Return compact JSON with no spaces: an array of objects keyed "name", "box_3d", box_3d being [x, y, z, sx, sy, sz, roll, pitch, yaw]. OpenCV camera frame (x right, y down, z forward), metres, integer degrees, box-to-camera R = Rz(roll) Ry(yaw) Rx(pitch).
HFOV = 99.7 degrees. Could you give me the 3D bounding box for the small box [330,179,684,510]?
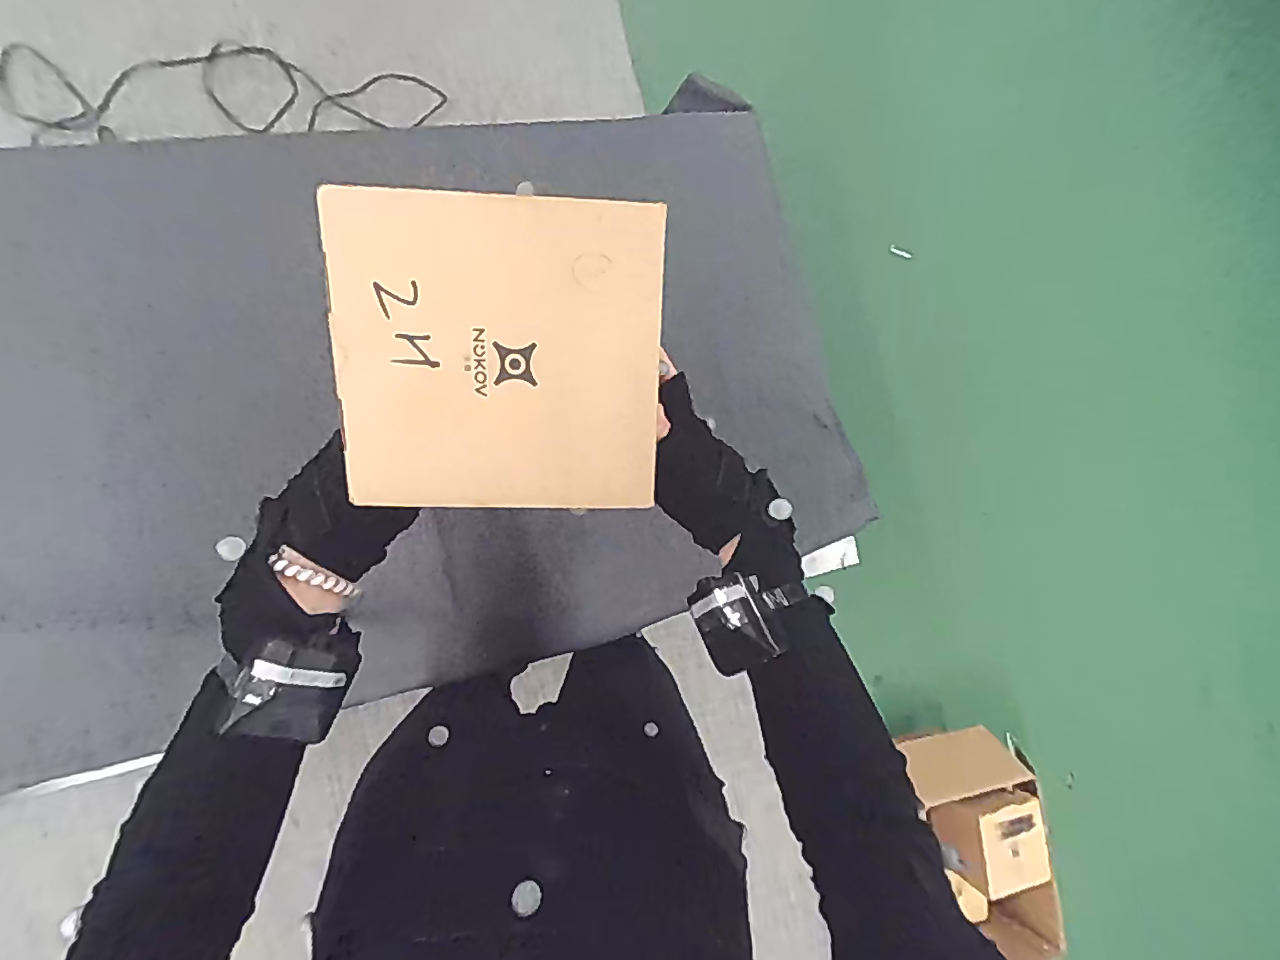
[{"name":"small box","box_3d":[-0.074,-0.085,0.365,0.179,0.176,0.168,2,105,-4]}]
